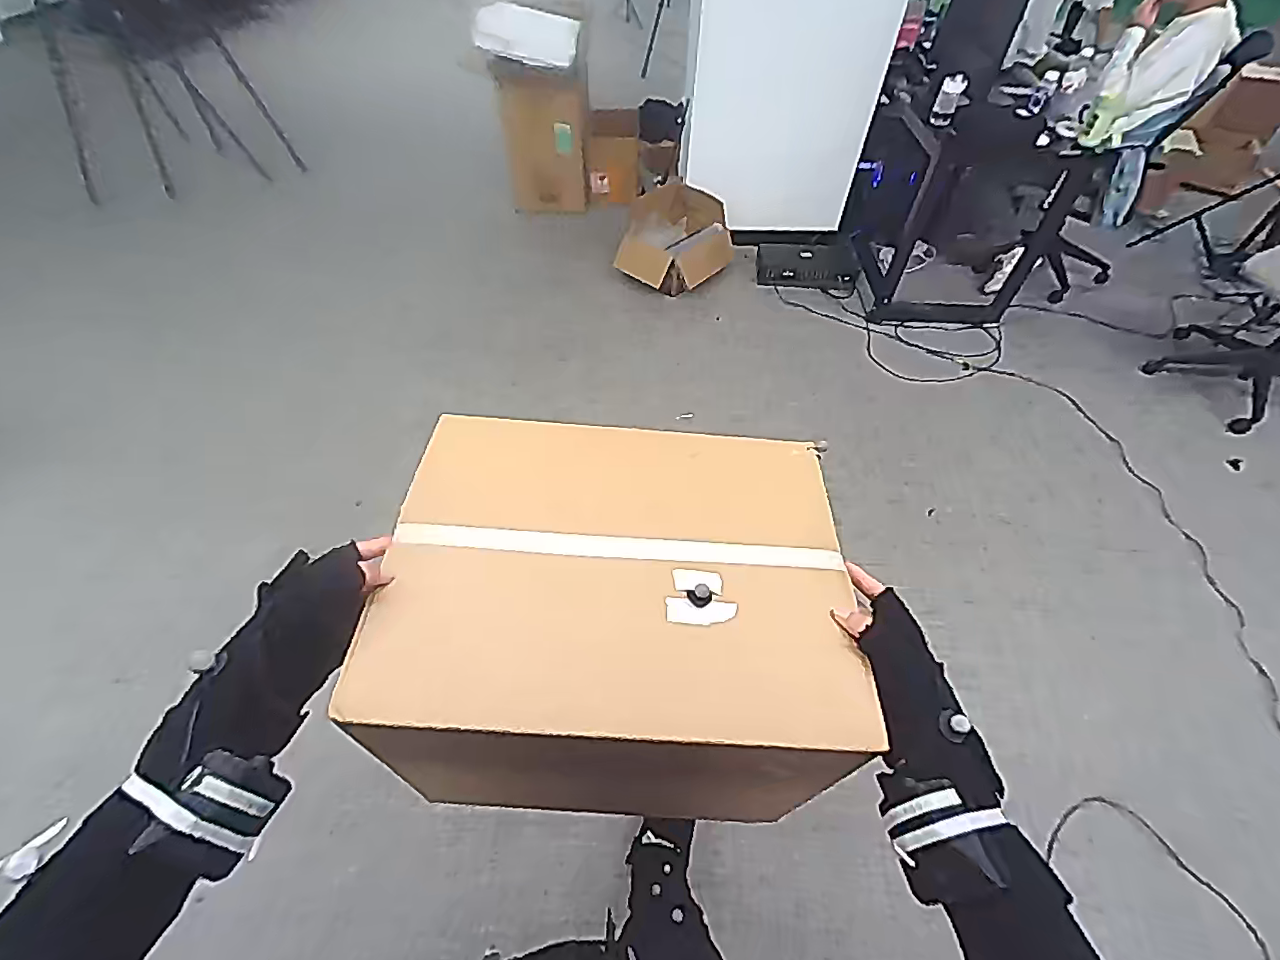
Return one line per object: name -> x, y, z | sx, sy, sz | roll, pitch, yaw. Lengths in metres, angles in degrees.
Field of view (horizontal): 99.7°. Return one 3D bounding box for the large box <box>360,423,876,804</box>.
large box -> -0.023, 0.161, 0.616 | 0.408, 0.320, 0.320 | 5, 50, -3
